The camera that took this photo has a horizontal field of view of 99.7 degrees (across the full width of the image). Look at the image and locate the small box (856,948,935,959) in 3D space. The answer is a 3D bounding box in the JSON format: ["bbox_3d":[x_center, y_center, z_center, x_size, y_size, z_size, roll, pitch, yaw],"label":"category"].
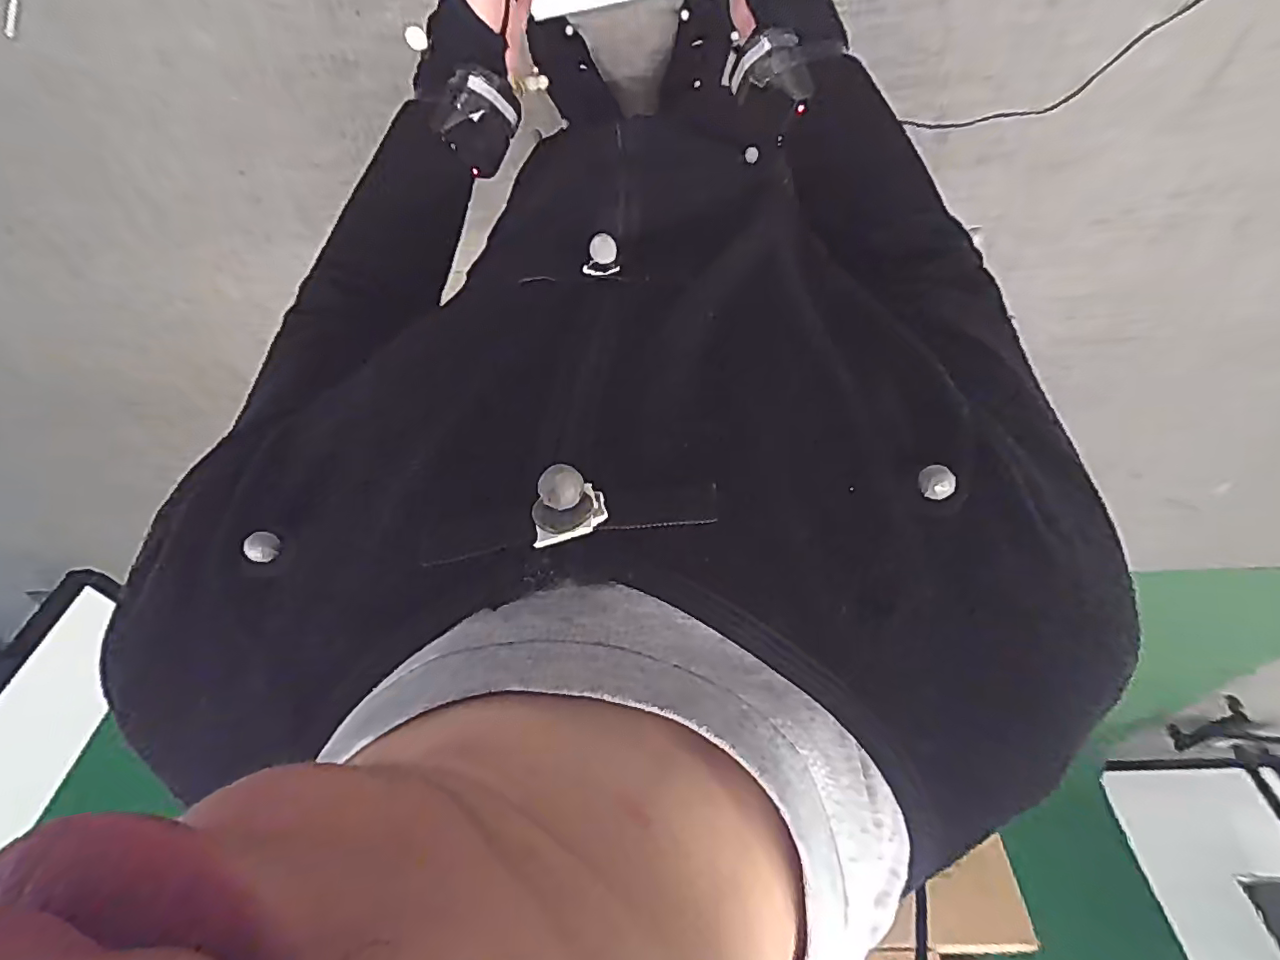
[{"bbox_3d":[0.640,1.255,1.318,0.168,0.176,0.179,-4,138,6],"label":"small box"}]
